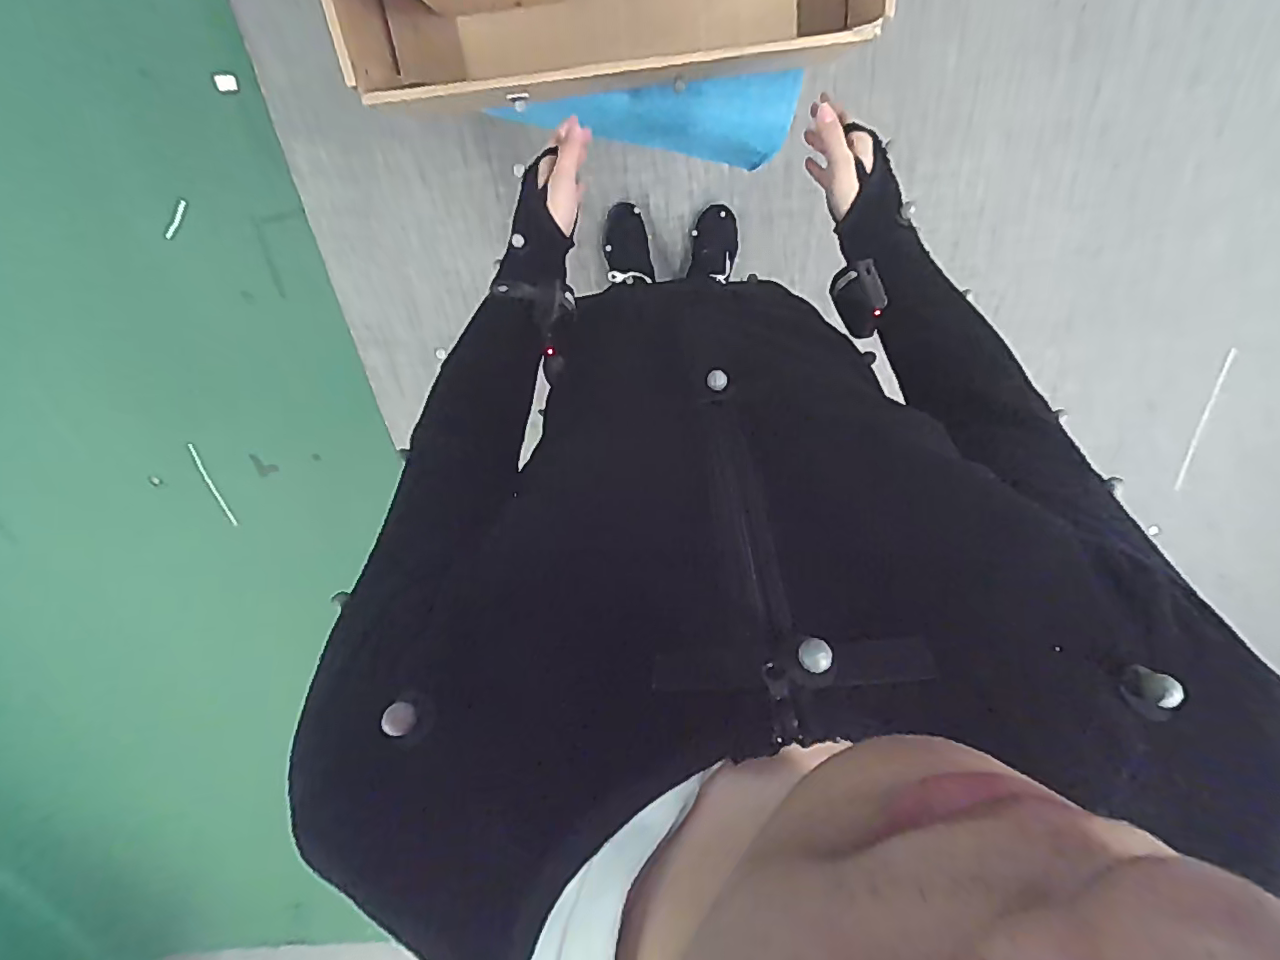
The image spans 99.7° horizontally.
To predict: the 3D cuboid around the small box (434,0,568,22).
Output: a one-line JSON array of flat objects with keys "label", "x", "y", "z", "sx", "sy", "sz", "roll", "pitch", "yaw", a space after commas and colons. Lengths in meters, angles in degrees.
[{"label": "small box", "x": -0.176, "y": -0.634, "z": 0.578, "sx": 0.168, "sy": 0.176, "sz": 0.179, "roll": -5, "pitch": 117, "yaw": 3}]
